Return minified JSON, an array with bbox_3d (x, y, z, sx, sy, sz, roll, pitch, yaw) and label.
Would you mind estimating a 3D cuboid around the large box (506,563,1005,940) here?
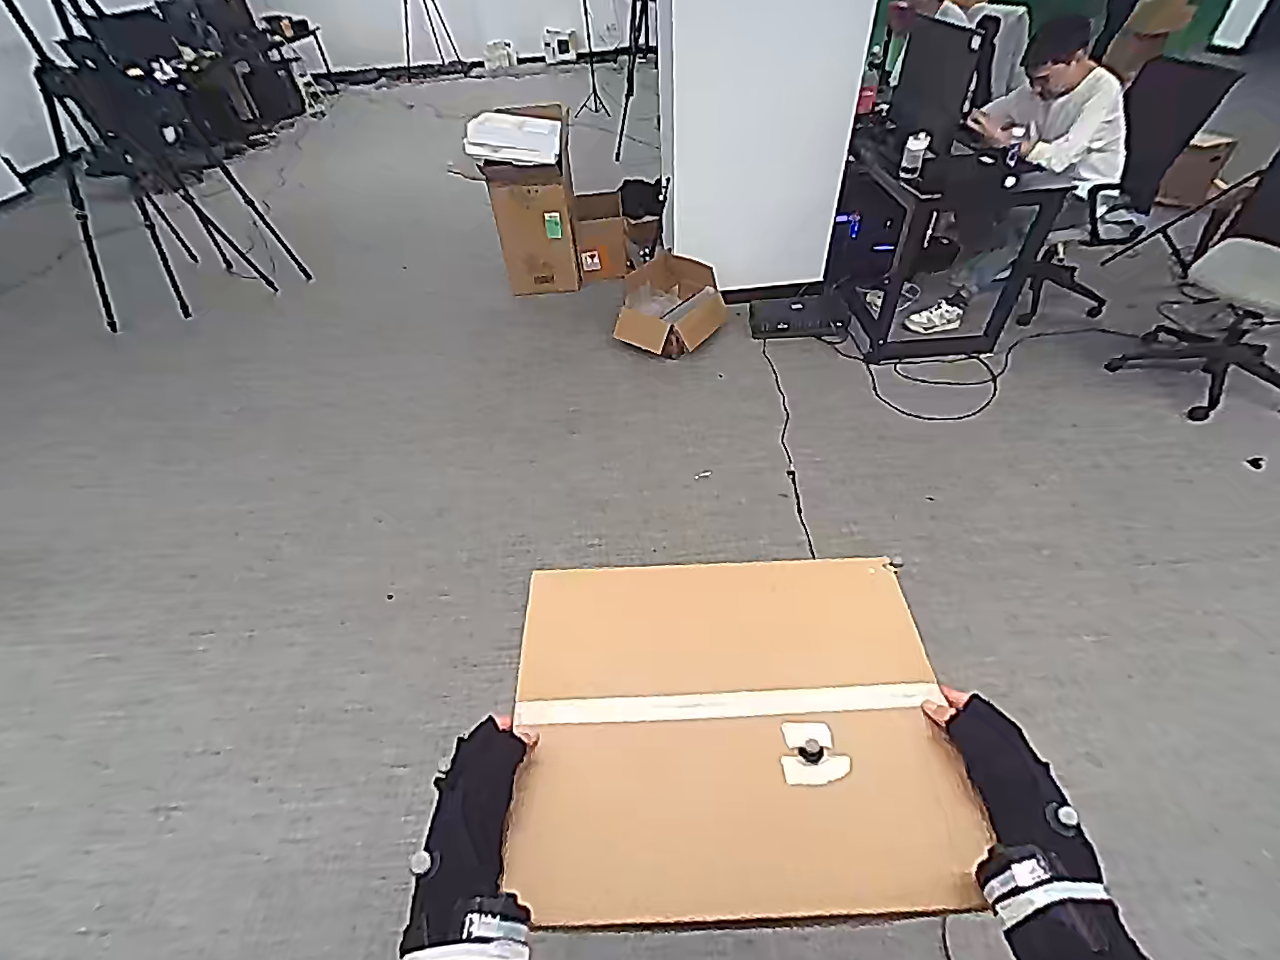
[{"bbox_3d":[0.087,0.318,0.629,0.408,0.320,0.320,-2,49,0],"label":"large box"}]
